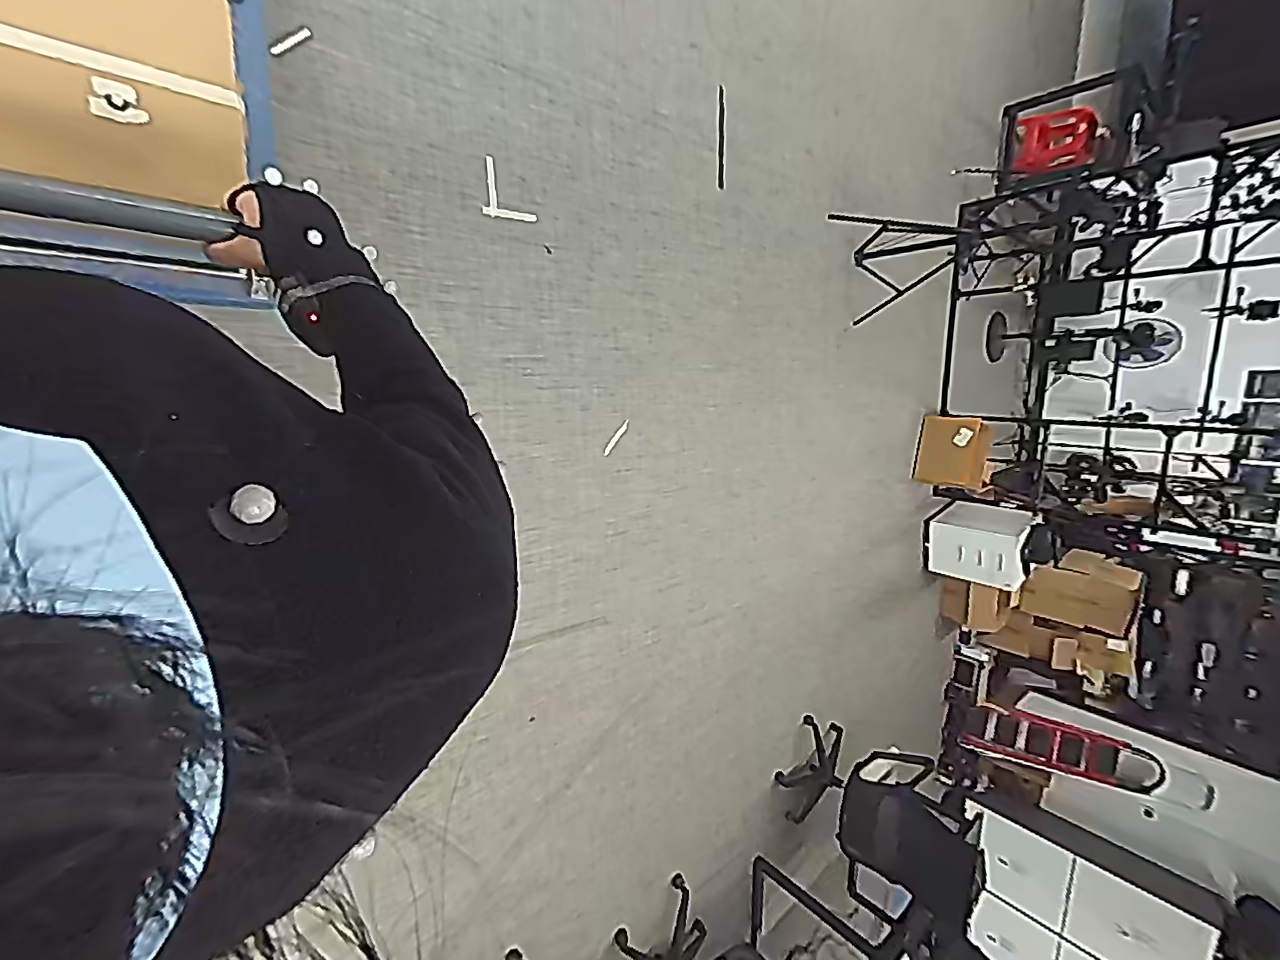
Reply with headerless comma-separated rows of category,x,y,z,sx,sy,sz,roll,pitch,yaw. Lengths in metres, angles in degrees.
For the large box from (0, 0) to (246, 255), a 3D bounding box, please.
large box,-0.842,-0.537,0.770,0.408,0.320,0.320,-7,103,-42
